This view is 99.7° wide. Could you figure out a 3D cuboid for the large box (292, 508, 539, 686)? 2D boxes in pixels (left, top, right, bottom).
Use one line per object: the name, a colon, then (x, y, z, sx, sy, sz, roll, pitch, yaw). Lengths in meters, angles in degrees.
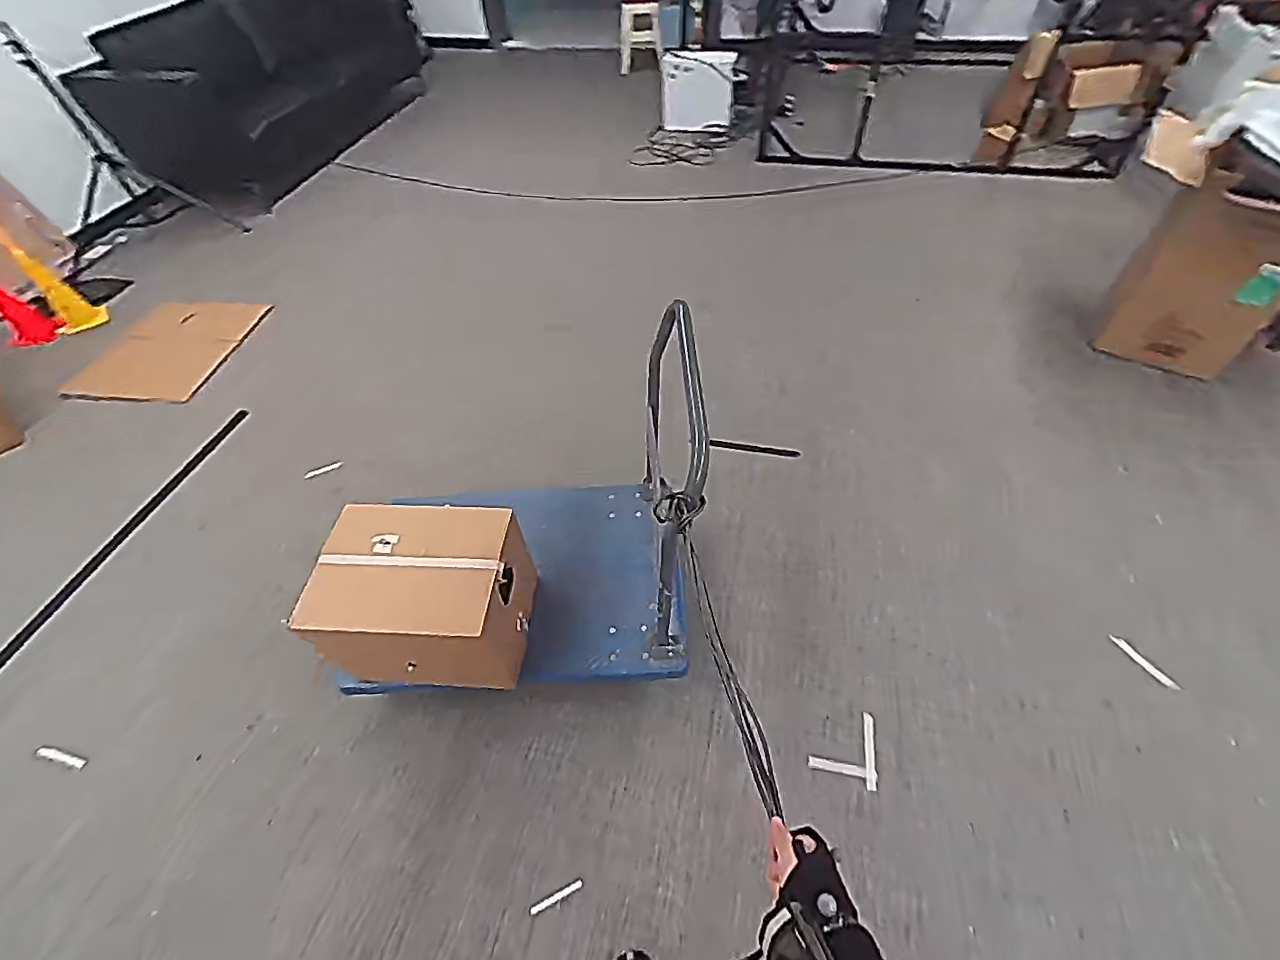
large box: (-0.482, 0.279, 1.270, 0.408, 0.320, 0.320, 1, 50, 5)
